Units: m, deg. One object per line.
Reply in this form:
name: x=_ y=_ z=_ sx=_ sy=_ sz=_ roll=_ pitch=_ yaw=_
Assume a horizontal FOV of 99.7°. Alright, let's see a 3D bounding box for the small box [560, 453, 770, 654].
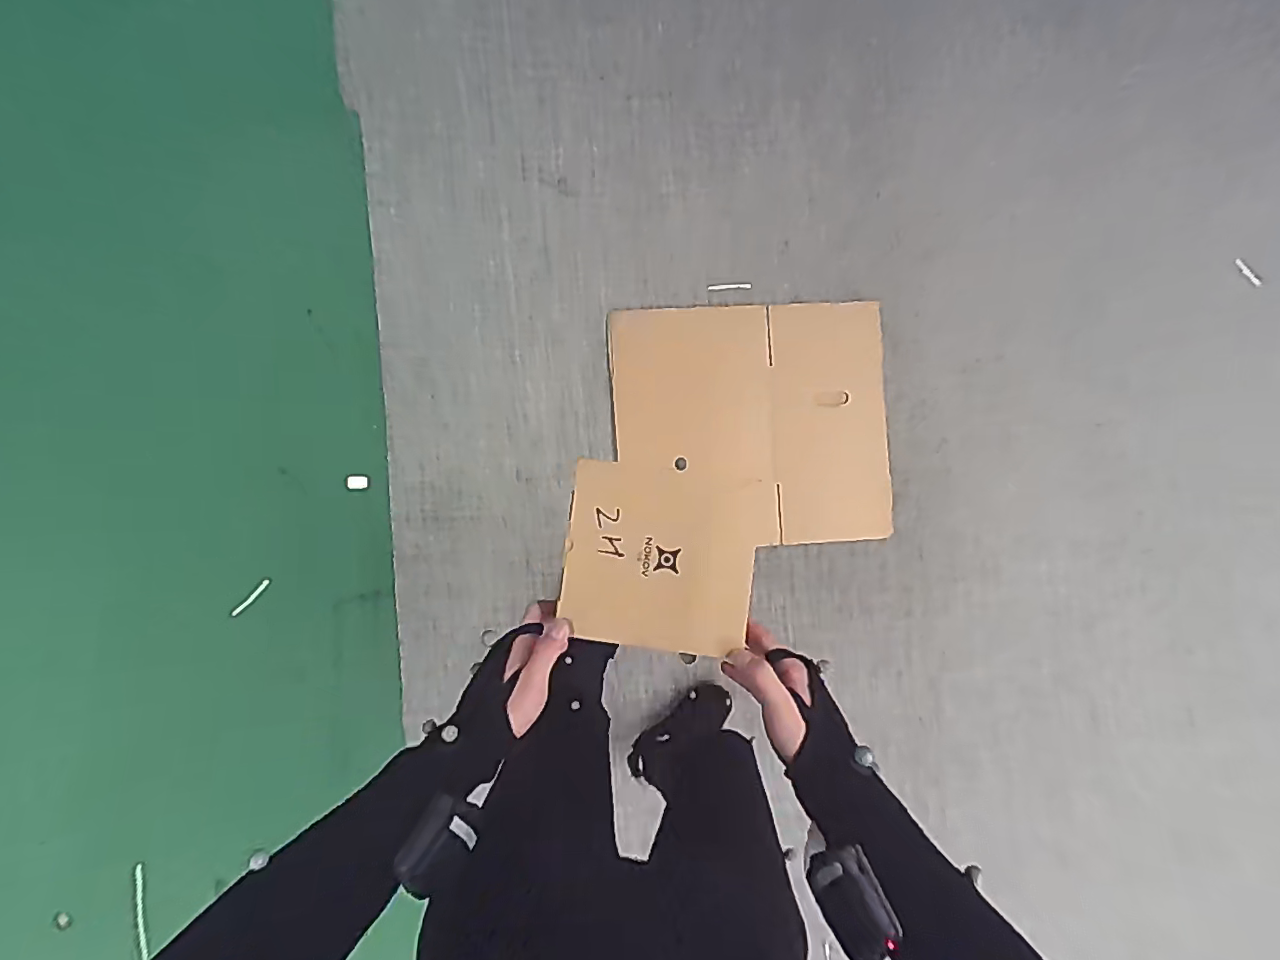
small box: x=0.026 y=0.071 z=0.576 sx=0.179 sy=0.176 sz=0.168 roll=8 pitch=86 yaw=3
